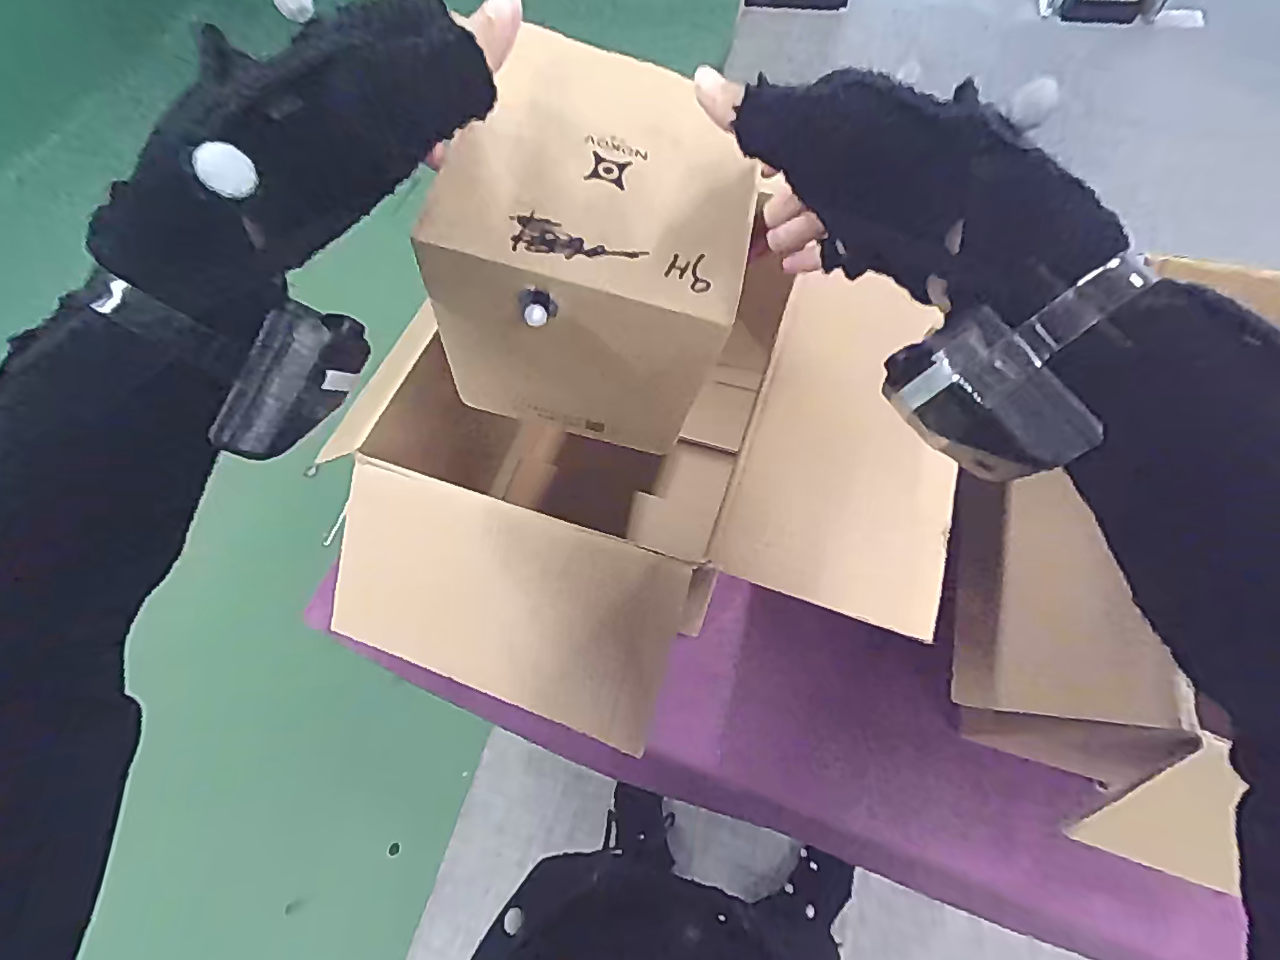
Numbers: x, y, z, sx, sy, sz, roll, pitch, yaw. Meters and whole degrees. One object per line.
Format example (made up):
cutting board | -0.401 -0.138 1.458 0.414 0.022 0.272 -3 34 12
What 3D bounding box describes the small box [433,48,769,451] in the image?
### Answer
small box | -0.023 -0.147 0.386 0.168 0.176 0.179 15 67 -2
